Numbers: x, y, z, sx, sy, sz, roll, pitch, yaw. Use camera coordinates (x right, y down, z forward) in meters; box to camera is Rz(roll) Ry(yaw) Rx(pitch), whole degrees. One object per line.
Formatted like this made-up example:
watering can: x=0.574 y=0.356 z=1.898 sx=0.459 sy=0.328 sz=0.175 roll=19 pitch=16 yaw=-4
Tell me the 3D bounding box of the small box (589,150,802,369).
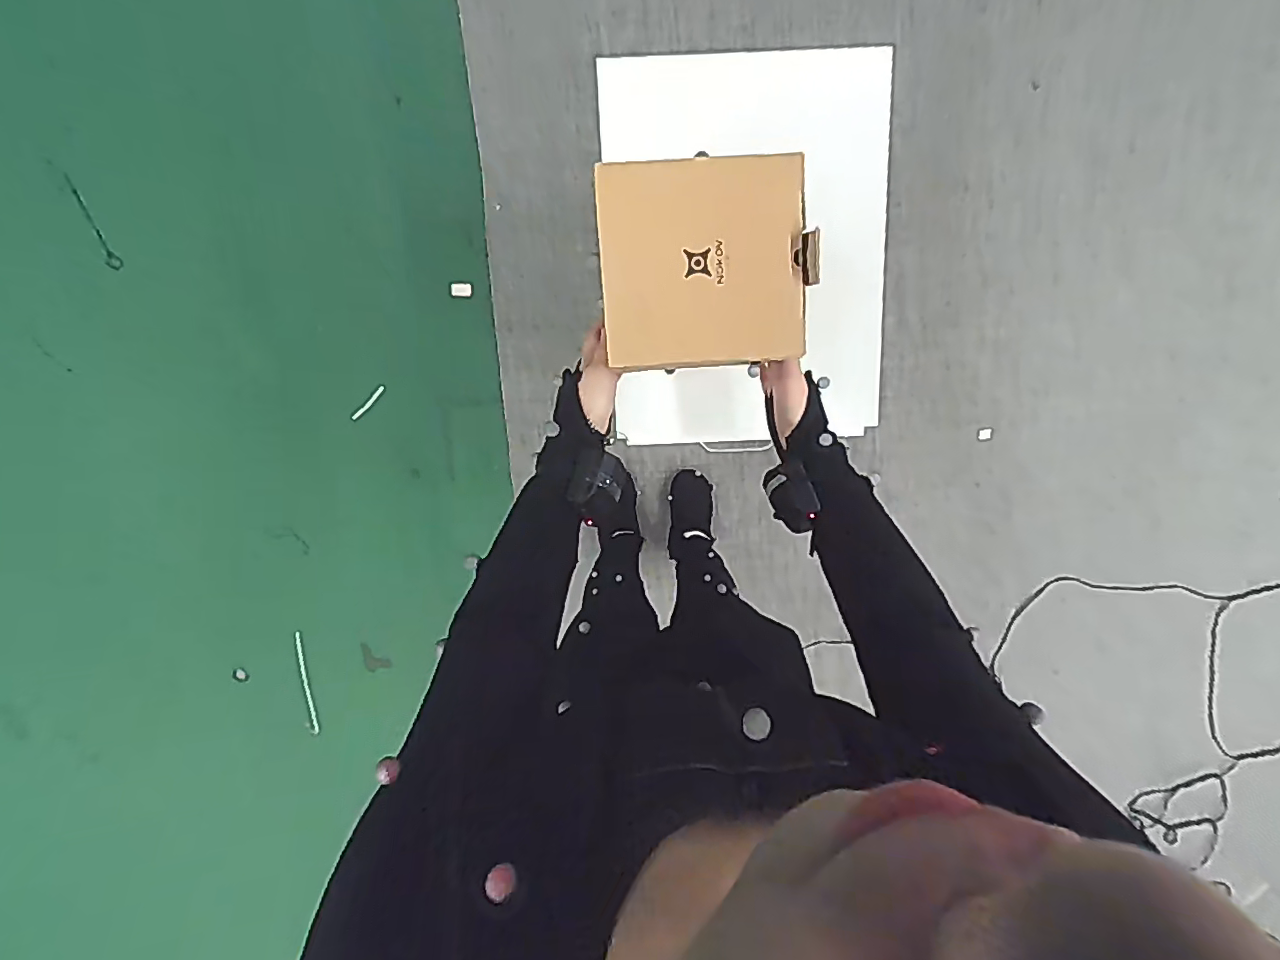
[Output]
small box: x=0.048 y=-0.198 z=0.532 sx=0.179 sy=0.176 sz=0.168 roll=-4 pitch=101 yaw=-2
